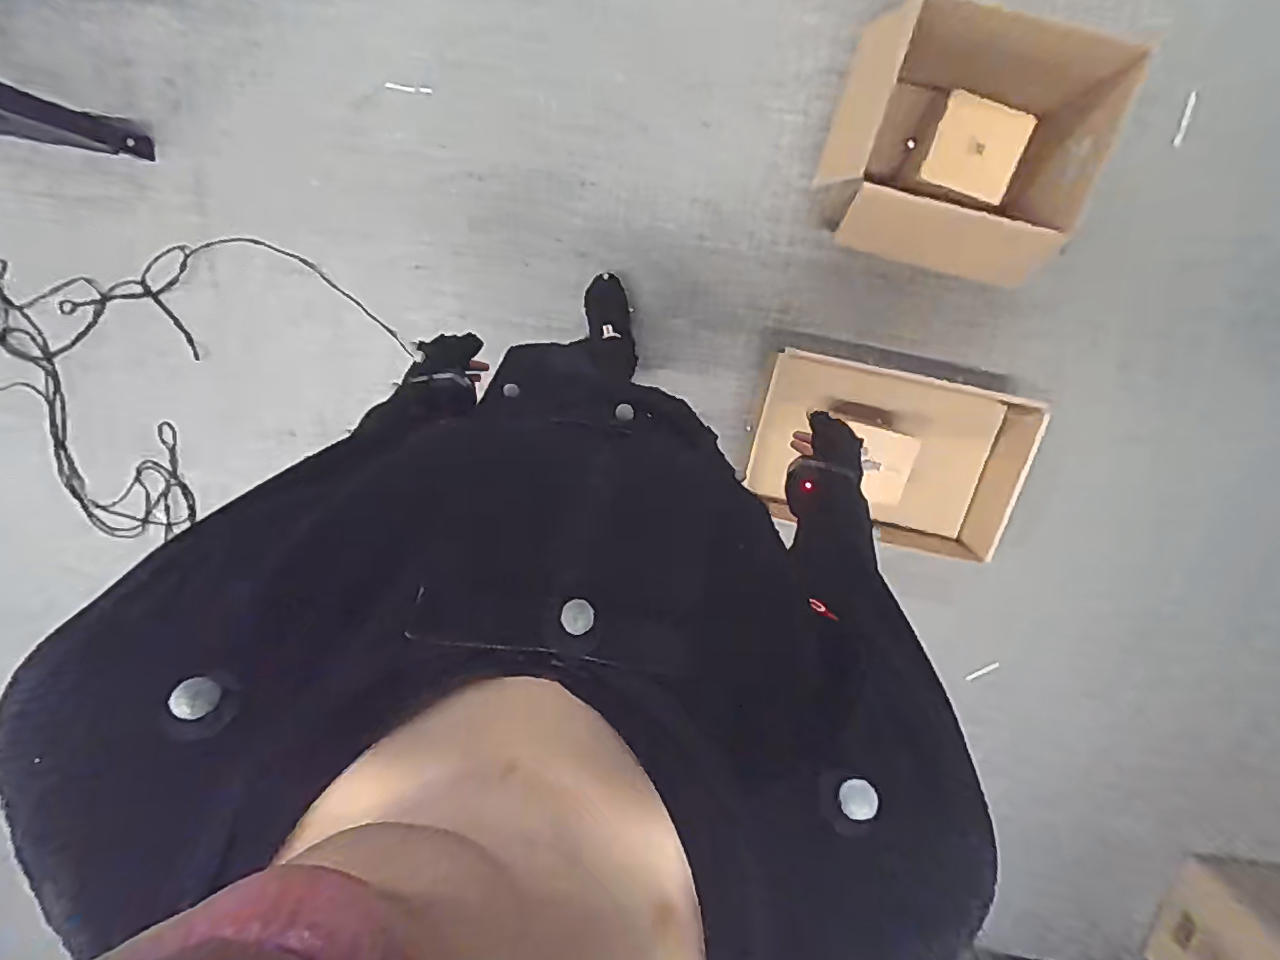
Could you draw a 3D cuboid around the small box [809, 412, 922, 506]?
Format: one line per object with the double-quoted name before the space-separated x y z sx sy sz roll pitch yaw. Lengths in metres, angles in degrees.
"small box" 0.525 -0.058 1.290 0.179 0.176 0.168 15 106 -2
